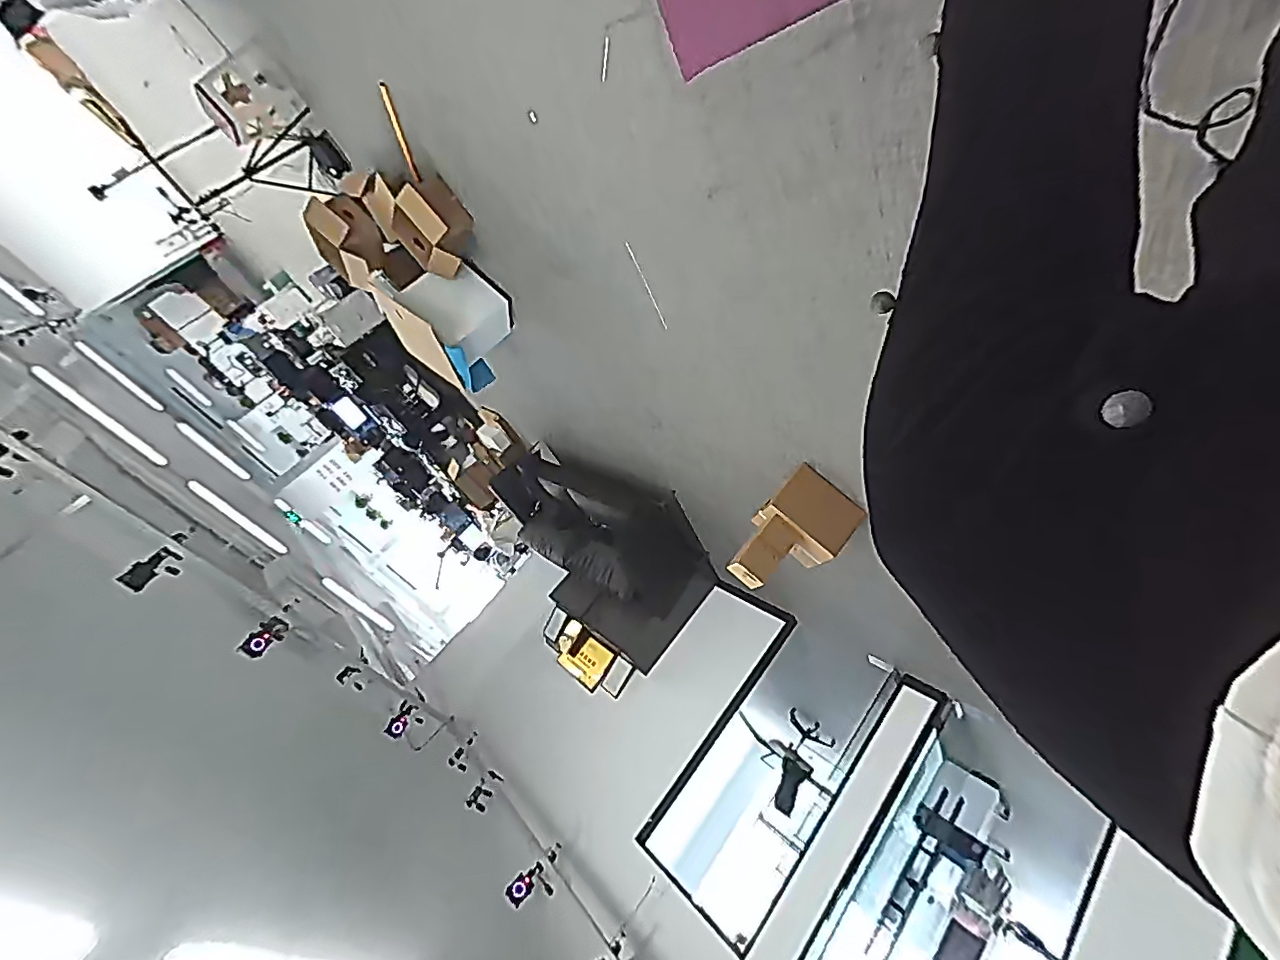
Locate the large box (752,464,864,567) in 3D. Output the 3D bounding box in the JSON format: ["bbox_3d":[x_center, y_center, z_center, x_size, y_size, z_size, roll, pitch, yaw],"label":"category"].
[{"bbox_3d":[0.866,0.189,2.820,0.408,0.320,0.320,40,161,6],"label":"large box"}]

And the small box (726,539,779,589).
[{"bbox_3d":[0.555,0.412,2.653,0.168,0.176,0.179,41,161,5],"label":"small box"}]
